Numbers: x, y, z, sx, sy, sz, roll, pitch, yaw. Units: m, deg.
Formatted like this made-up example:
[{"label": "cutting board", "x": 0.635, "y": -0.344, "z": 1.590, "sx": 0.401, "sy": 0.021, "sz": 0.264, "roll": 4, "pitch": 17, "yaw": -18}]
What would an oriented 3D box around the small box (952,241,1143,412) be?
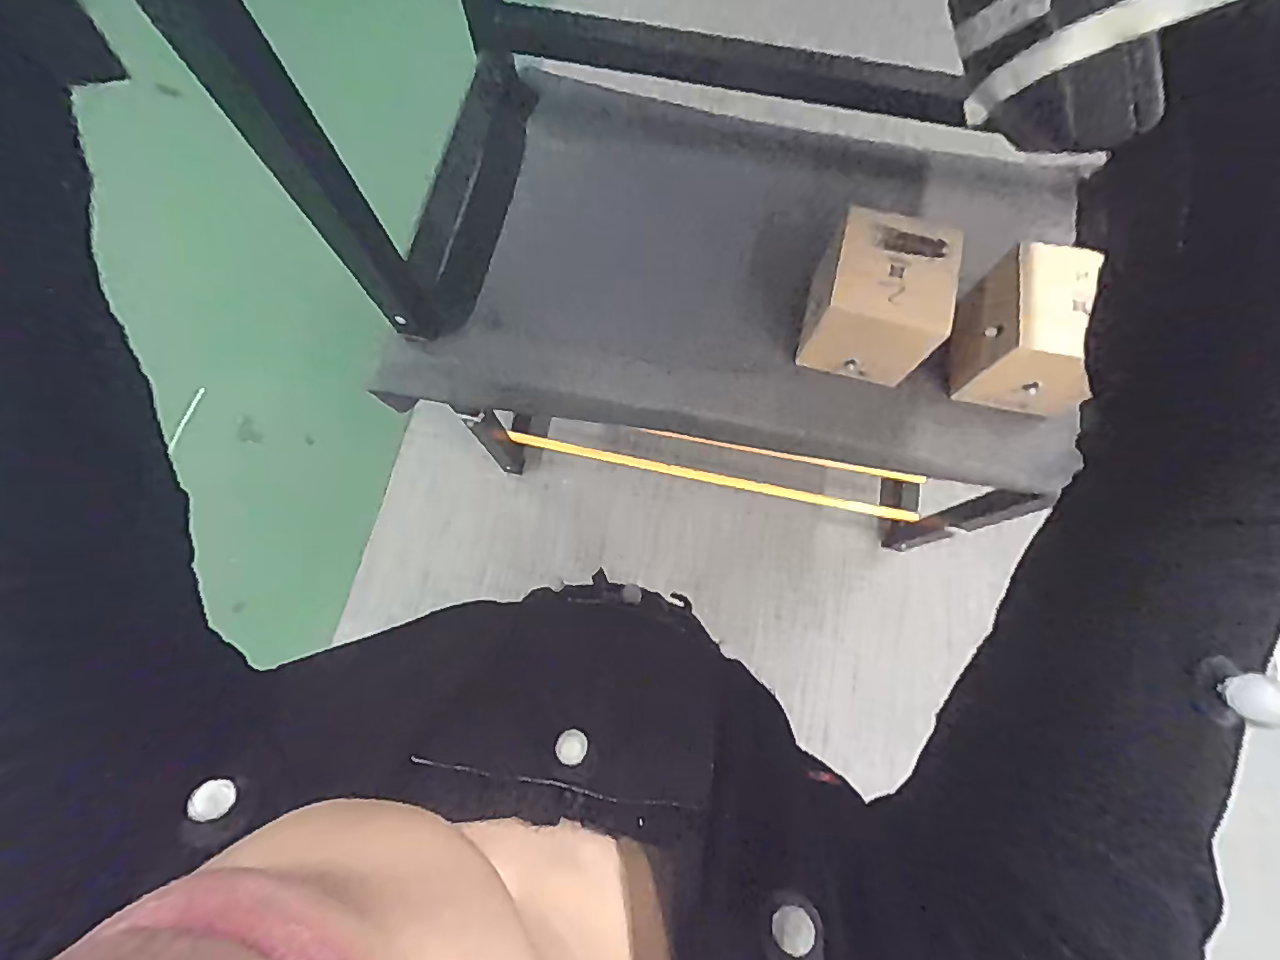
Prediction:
[{"label": "small box", "x": 0.597, "y": -0.220, "z": 0.813, "sx": 0.168, "sy": 0.176, "sz": 0.179, "roll": 11, "pitch": 73, "yaw": 2}]
